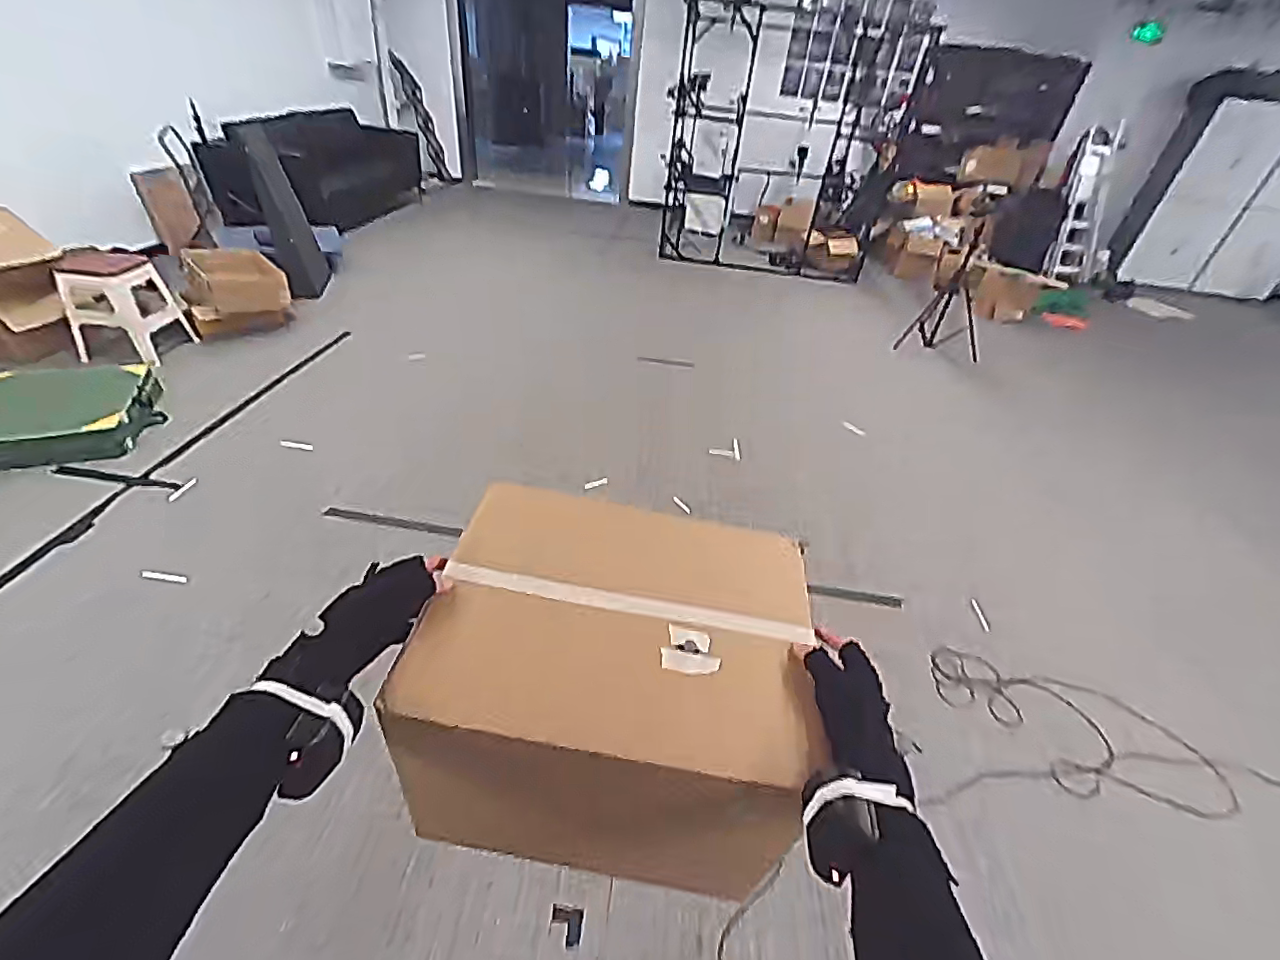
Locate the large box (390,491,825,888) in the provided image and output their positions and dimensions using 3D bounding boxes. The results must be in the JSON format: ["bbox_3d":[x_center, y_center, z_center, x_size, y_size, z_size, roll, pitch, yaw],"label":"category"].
[{"bbox_3d":[-0.037,0.257,0.684,0.408,0.320,0.320,11,39,0],"label":"large box"}]
